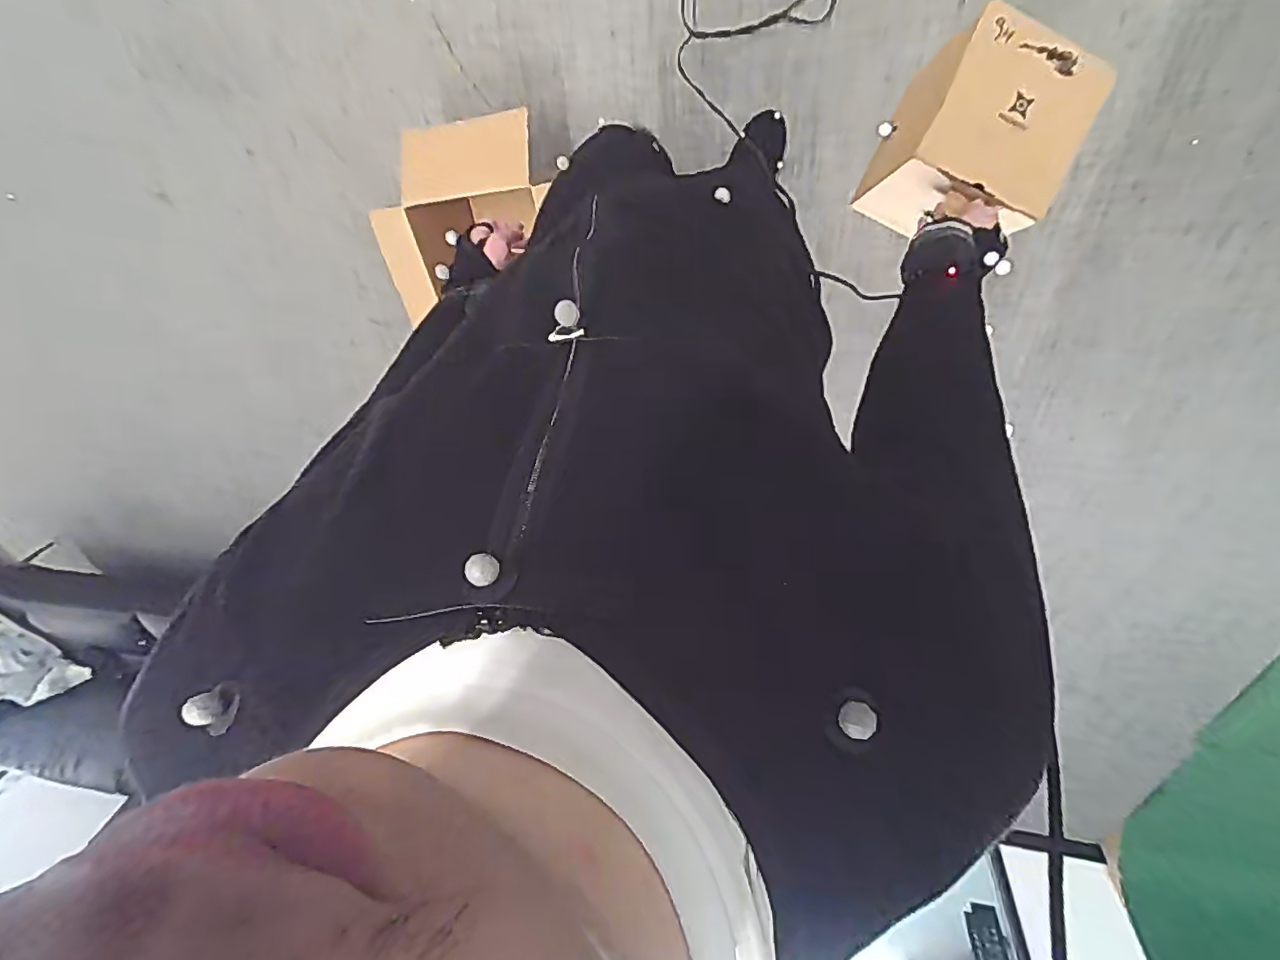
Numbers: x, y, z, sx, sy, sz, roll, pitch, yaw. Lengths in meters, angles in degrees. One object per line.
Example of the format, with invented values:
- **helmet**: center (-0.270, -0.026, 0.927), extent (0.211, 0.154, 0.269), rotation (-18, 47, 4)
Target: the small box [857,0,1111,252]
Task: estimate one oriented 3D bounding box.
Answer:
- **small box**: center (0.396, -0.409, 0.663), extent (0.168, 0.176, 0.179), rotation (24, 98, -6)
